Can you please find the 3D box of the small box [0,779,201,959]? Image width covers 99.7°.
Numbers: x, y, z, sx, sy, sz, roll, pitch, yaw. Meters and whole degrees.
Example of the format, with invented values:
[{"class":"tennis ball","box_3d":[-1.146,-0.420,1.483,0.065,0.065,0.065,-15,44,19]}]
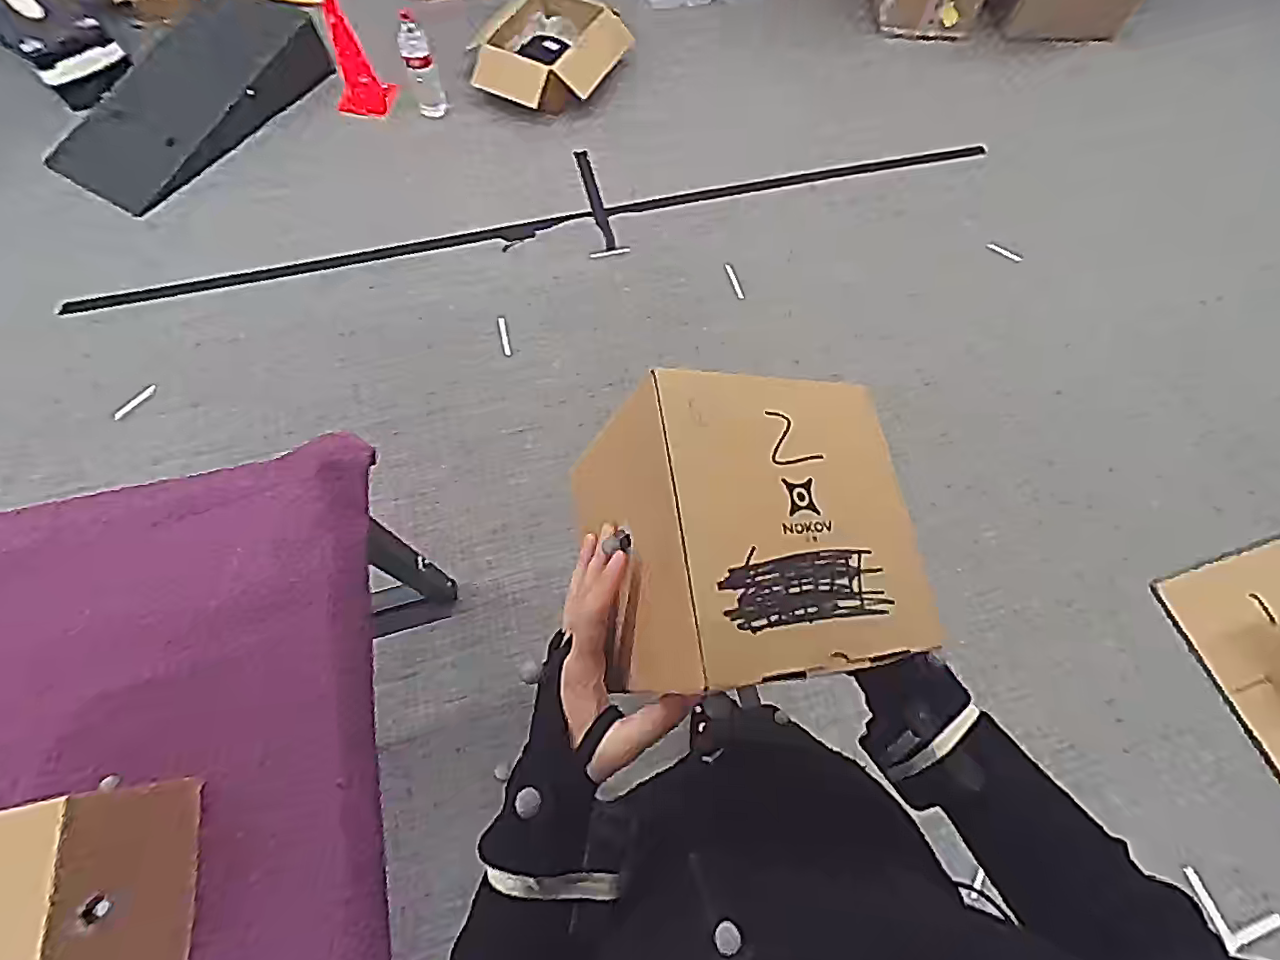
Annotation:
[{"class":"small box","box_3d":[-0.539,0.390,0.484,0.168,0.176,0.179,-11,67,-8]}]
